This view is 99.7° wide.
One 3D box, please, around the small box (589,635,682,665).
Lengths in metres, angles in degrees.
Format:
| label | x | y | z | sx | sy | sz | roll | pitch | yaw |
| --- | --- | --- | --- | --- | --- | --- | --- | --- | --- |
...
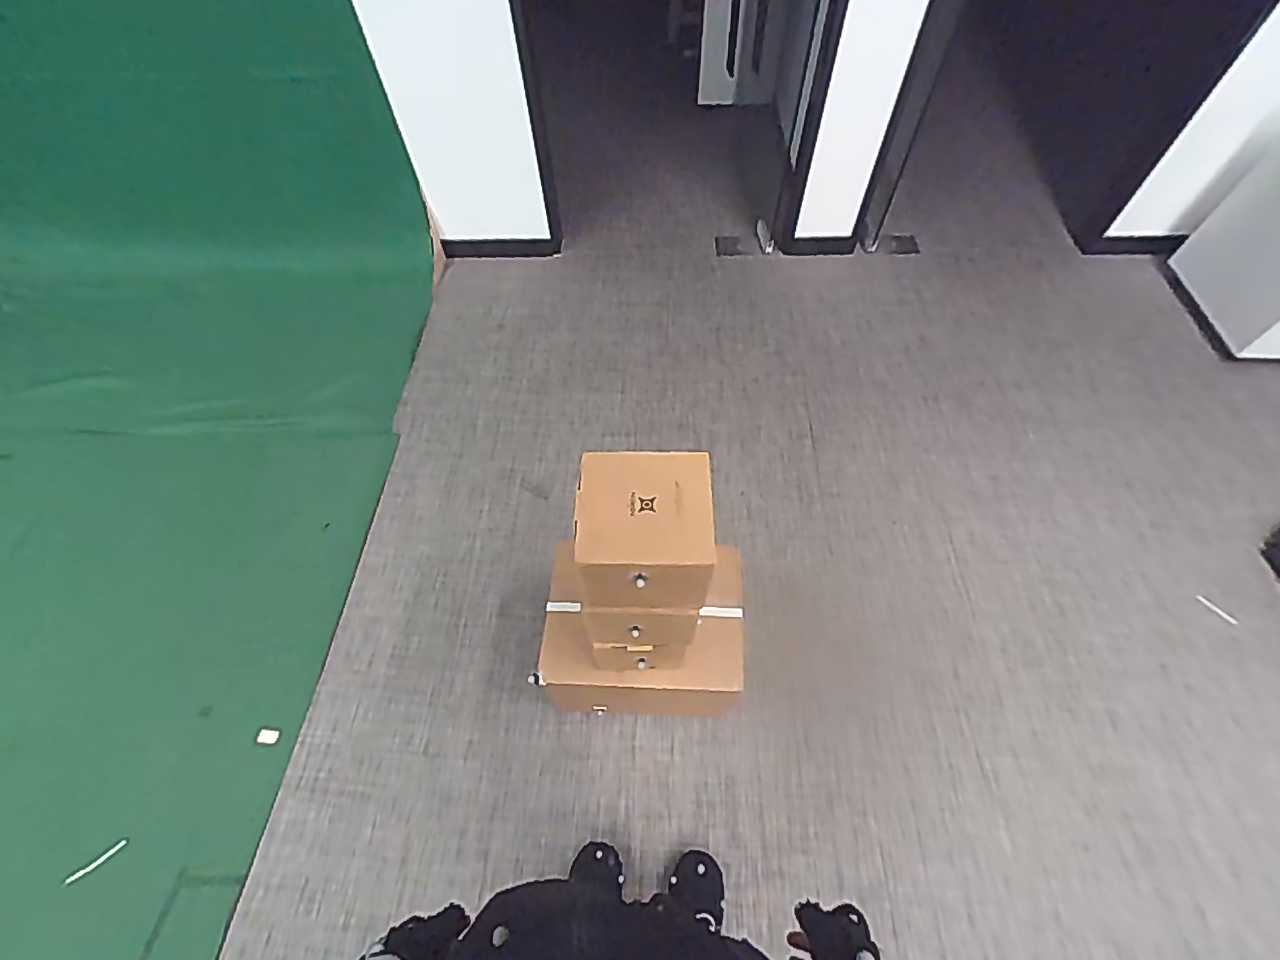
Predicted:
| label | x | y | z | sx | sy | sz | roll | pitch | yaw |
| --- | --- | --- | --- | --- | --- | --- | --- | --- | --- |
| small box | -0.005 | 0.253 | 1.038 | 0.168 | 0.176 | 0.179 | -1 | 59 | 0 |

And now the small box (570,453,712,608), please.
| label | x | y | z | sx | sy | sz | roll | pitch | yaw |
| --- | --- | --- | --- | --- | --- | --- | --- | --- | --- |
| small box | 0.004 | 0.077 | 0.763 | 0.179 | 0.176 | 0.168 | 0 | 59 | 0 |

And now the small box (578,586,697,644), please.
| label | x | y | z | sx | sy | sz | roll | pitch | yaw |
| --- | --- | --- | --- | --- | --- | --- | --- | --- | --- |
| small box | 0.000 | 0.167 | 0.897 | 0.179 | 0.176 | 0.168 | 1 | 58 | 3 |
